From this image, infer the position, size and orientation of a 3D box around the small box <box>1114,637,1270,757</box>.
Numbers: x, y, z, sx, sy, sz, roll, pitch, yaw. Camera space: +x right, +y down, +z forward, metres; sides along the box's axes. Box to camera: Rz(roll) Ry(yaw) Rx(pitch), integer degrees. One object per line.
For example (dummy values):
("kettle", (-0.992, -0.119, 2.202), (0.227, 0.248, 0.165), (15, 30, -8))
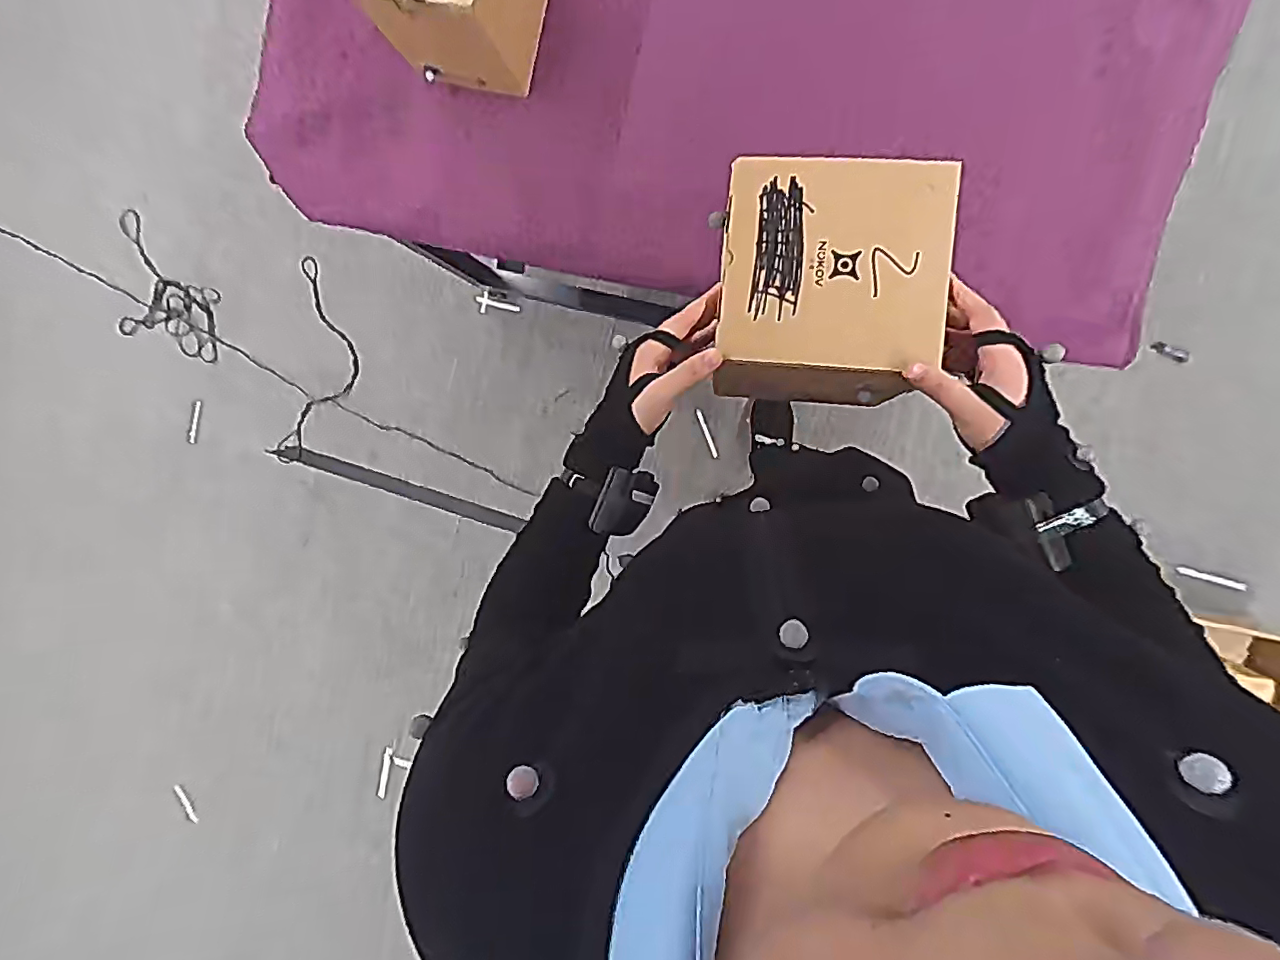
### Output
("small box", (1.232, 0.482, 1.224), (0.168, 0.176, 0.179), (9, 97, 7))

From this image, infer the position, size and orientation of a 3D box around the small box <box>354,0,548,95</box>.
("small box", (-0.226, -0.629, 0.677), (0.168, 0.176, 0.179), (16, 97, 7))

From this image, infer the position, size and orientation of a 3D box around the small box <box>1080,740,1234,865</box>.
("small box", (1.186, 0.736, 1.255), (0.179, 0.176, 0.168), (11, 96, 8))
